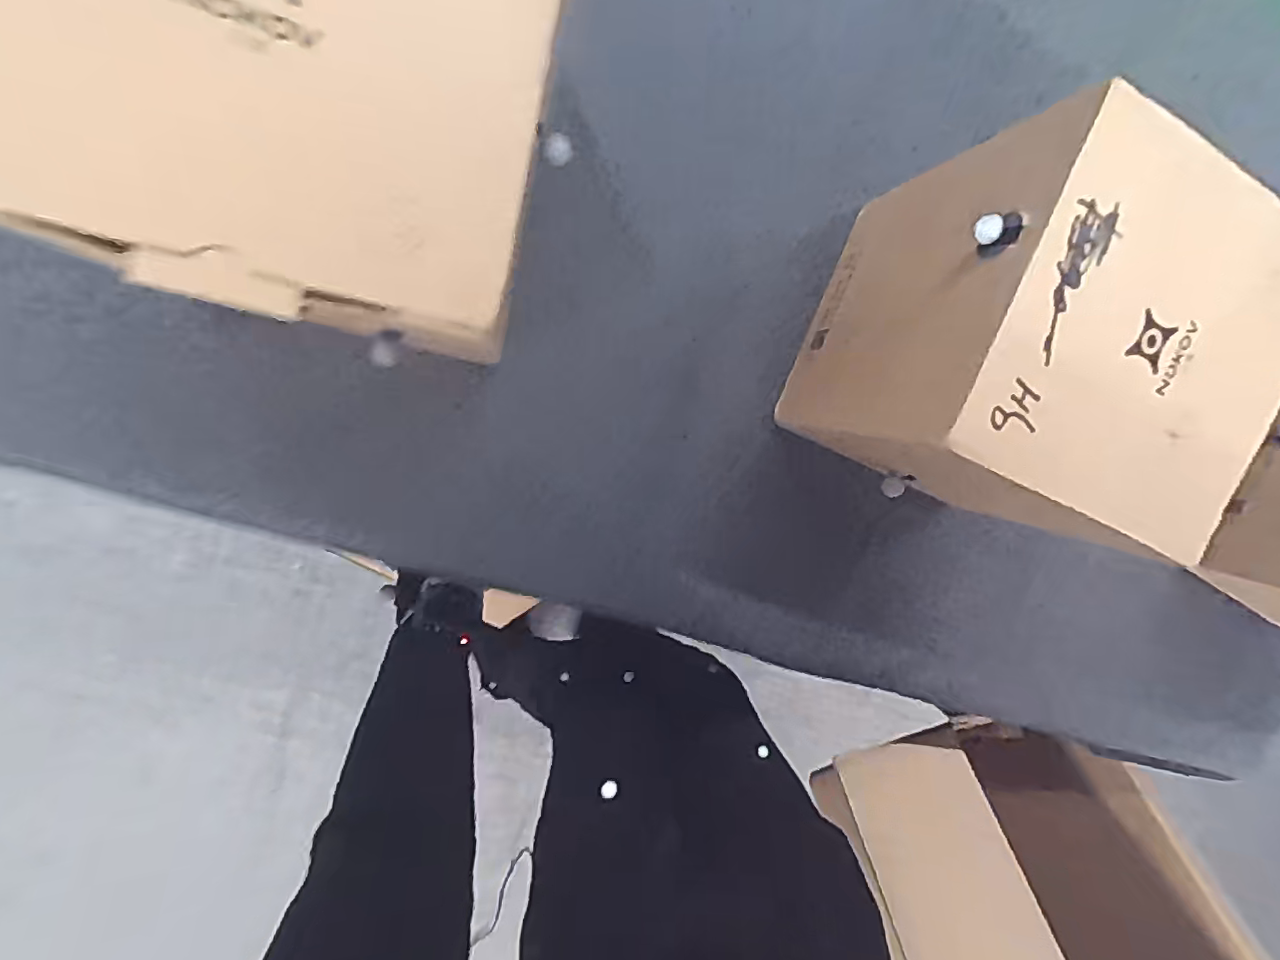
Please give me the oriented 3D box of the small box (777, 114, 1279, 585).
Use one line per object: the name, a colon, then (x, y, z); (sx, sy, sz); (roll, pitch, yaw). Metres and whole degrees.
small box: (0.219, -0.063, 0.329); (0.179, 0.176, 0.168); (22, 93, -15)
